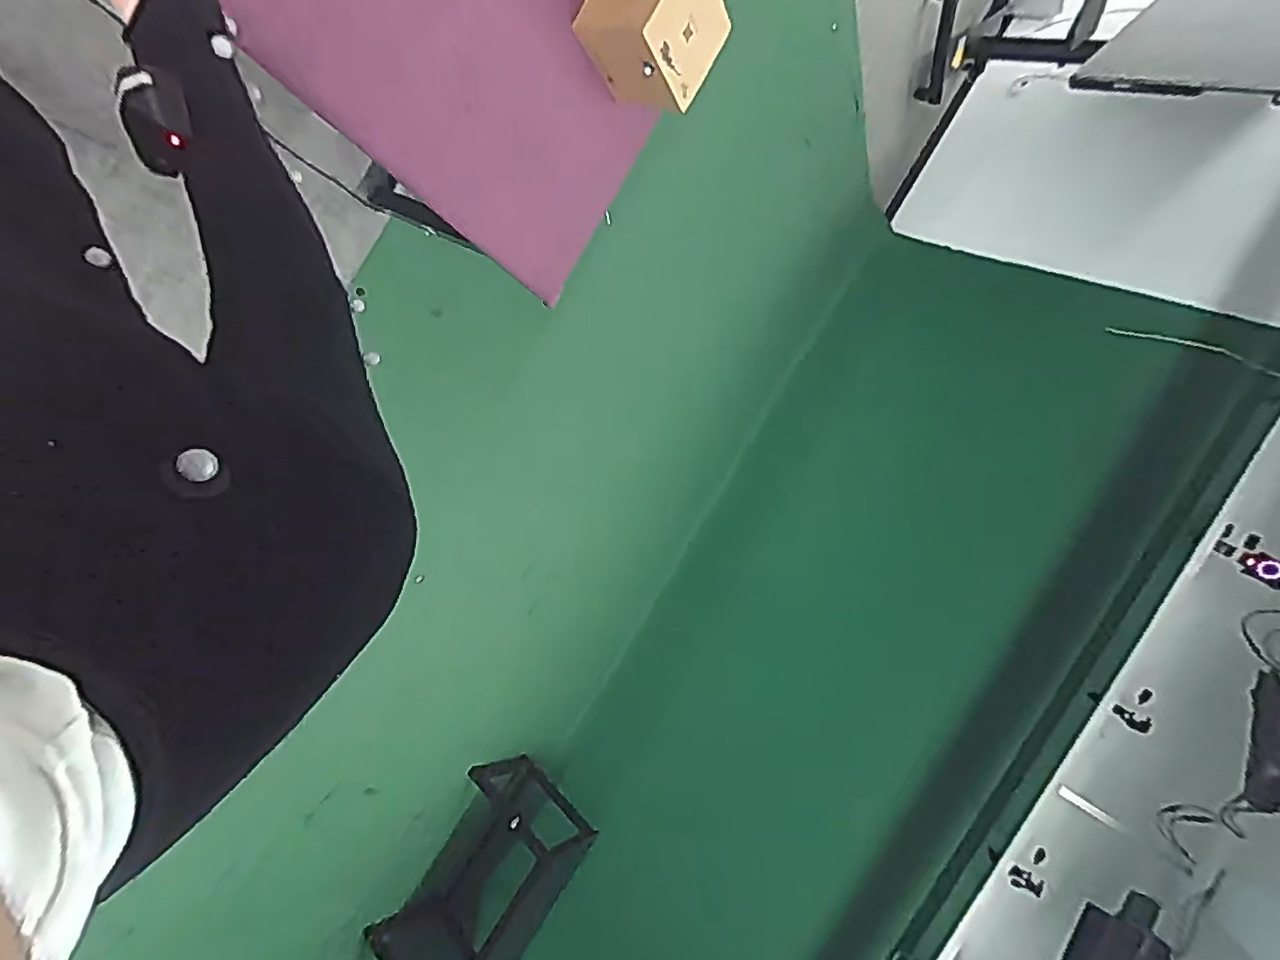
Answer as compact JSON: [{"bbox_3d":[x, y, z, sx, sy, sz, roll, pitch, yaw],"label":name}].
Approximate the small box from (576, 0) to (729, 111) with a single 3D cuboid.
[{"bbox_3d":[0.020,-0.786,0.933,0.179,0.176,0.168,-61,150,3],"label":"small box"}]
